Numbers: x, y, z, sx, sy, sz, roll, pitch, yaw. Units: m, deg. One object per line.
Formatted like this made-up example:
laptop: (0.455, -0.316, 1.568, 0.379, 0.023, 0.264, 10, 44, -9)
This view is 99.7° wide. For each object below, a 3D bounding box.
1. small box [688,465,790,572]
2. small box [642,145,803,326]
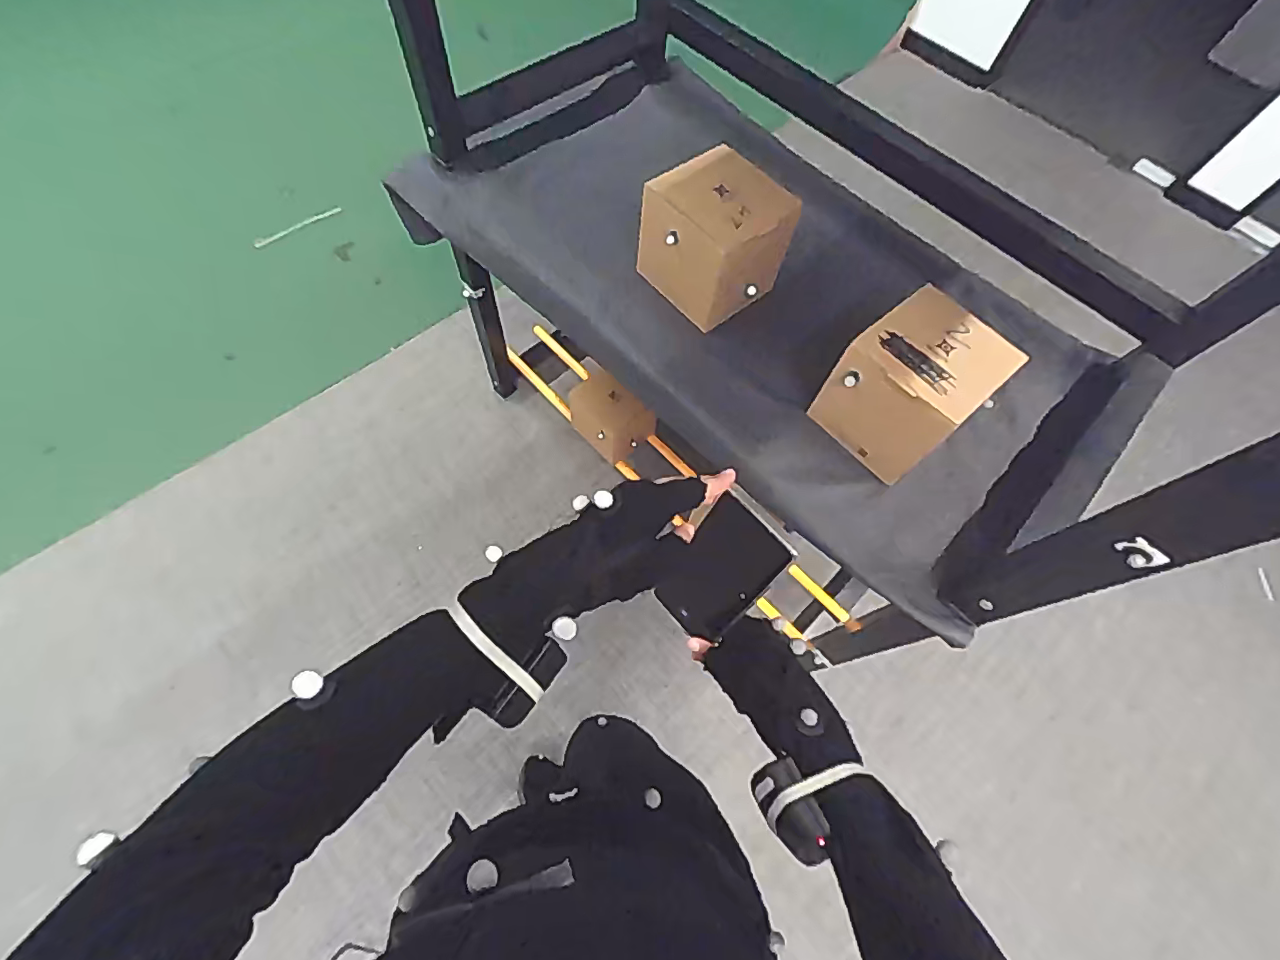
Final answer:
small box: (0.234, 0.102, 1.336, 0.179, 0.176, 0.168, -37, 73, -19)
small box: (0.118, -0.384, 0.864, 0.168, 0.176, 0.179, -37, 72, -19)
